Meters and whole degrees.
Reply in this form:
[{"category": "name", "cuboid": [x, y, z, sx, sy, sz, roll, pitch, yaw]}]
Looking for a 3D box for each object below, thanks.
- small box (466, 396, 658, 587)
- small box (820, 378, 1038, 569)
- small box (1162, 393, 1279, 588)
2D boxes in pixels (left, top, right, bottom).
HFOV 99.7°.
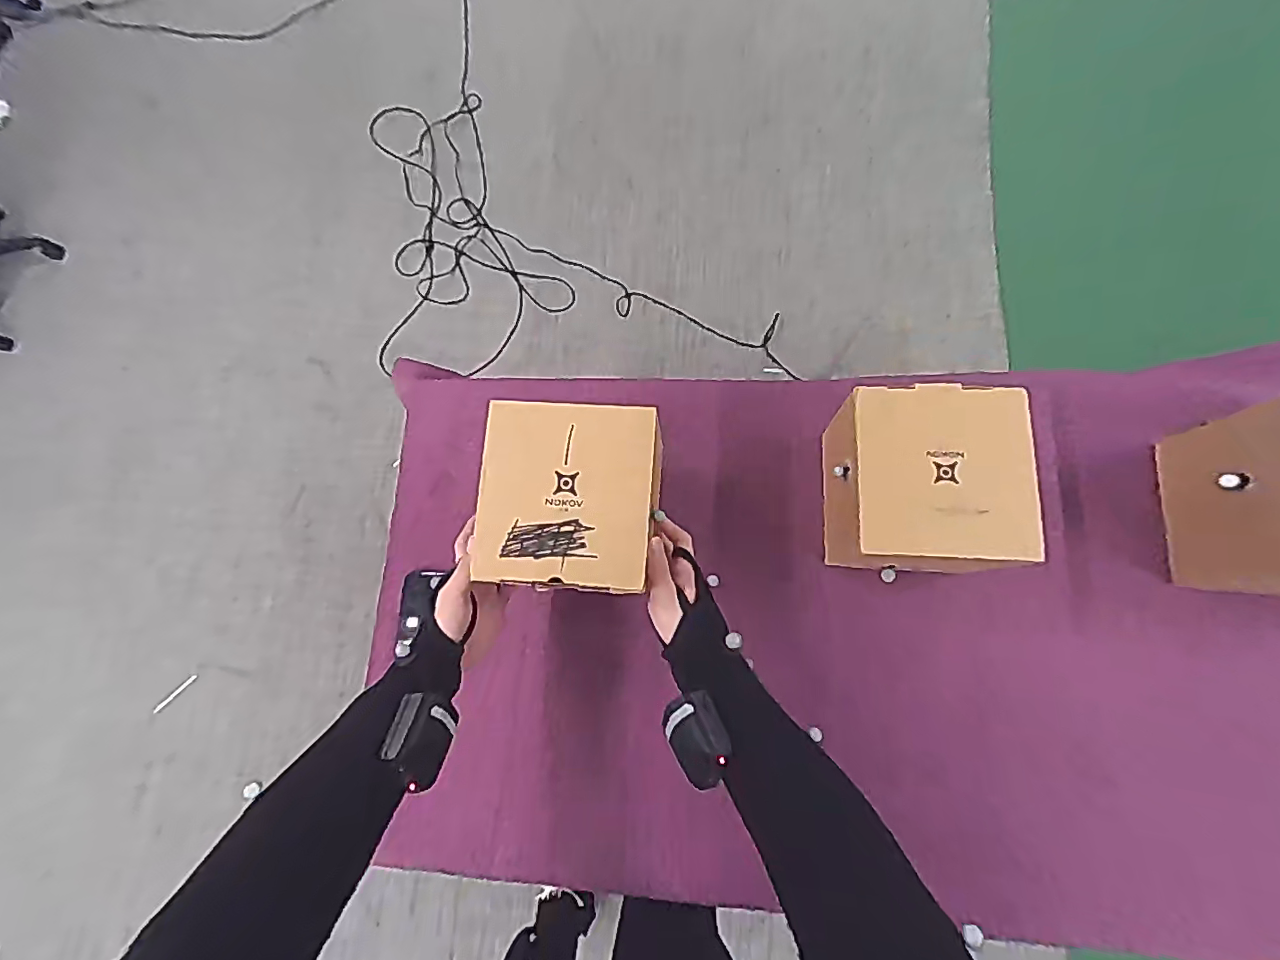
[{"category": "small box", "cuboid": [-0.070, 0.019, 0.589, 0.168, 0.176, 0.179, 3, 81, 5]}, {"category": "small box", "cuboid": [0.300, 0.001, 0.602, 0.168, 0.176, 0.179, 2, 77, 8]}, {"category": "small box", "cuboid": [0.688, 0.014, 0.548, 0.168, 0.176, 0.179, 2, 76, 9]}]
